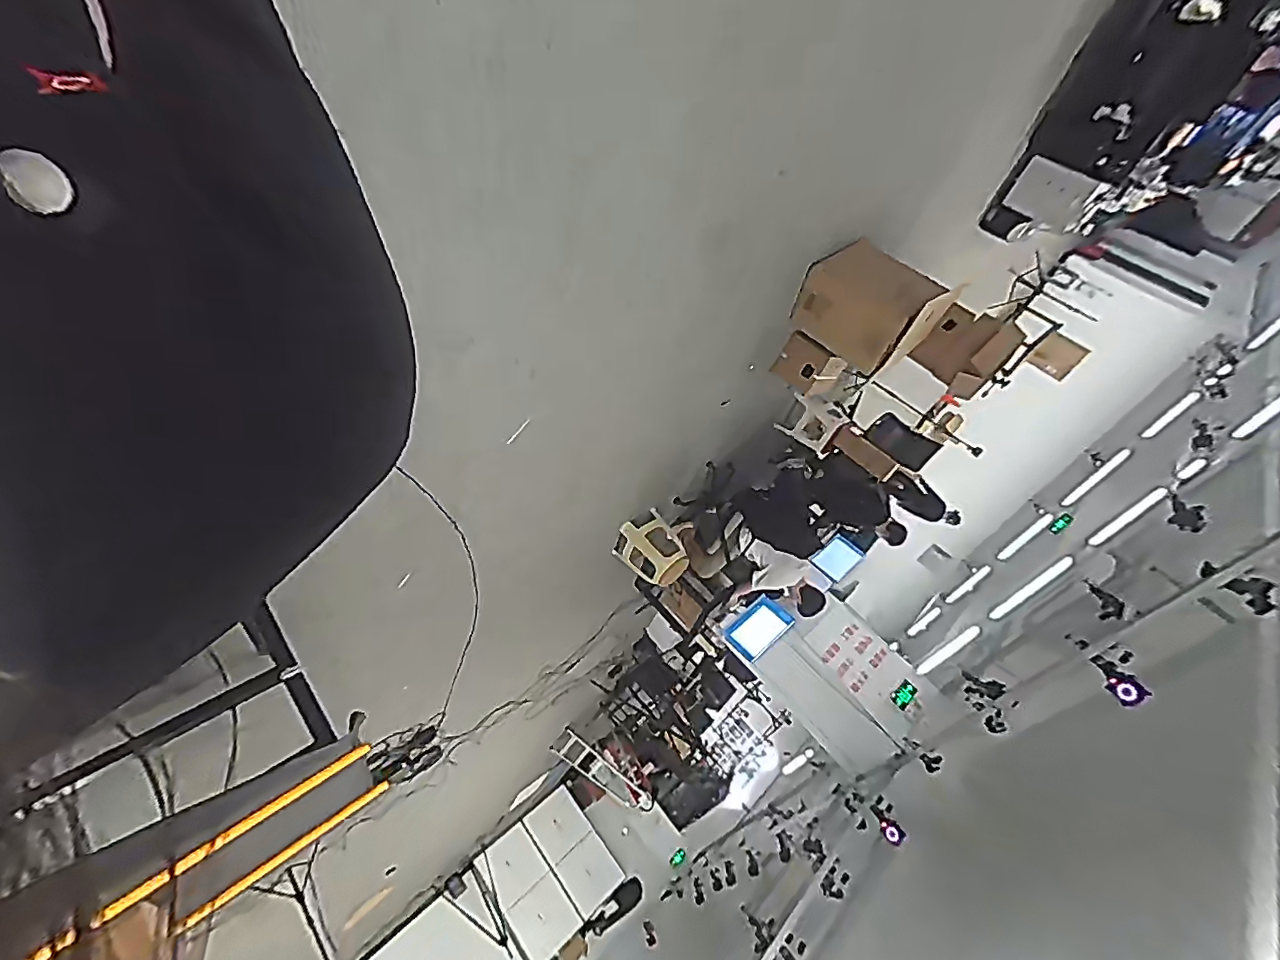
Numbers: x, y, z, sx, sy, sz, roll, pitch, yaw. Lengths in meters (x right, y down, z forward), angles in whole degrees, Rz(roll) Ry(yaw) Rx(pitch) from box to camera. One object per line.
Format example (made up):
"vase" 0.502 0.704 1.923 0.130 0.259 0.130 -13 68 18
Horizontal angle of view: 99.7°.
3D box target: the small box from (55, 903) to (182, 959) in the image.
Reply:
"small box" -1.229 1.154 1.285 0.168 0.176 0.179 -28 151 -38
